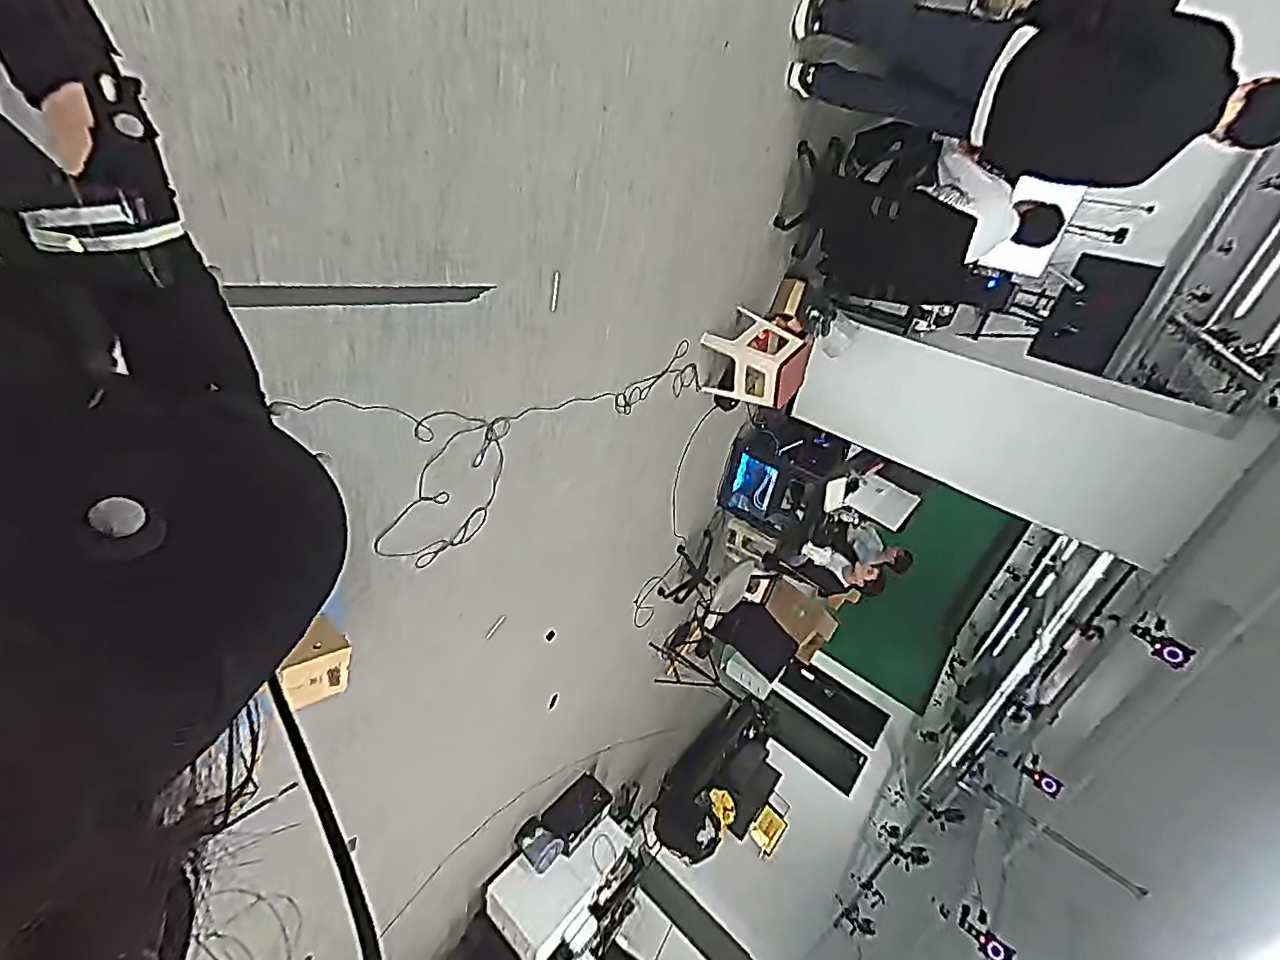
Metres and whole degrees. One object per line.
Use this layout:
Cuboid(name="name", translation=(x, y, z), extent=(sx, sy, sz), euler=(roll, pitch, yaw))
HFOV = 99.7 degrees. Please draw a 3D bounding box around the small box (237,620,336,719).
Cuboid(name="small box", translation=(-0.989, 0.518, 1.512), extent=(0.179, 0.176, 0.168), euler=(-10, 124, -53))
